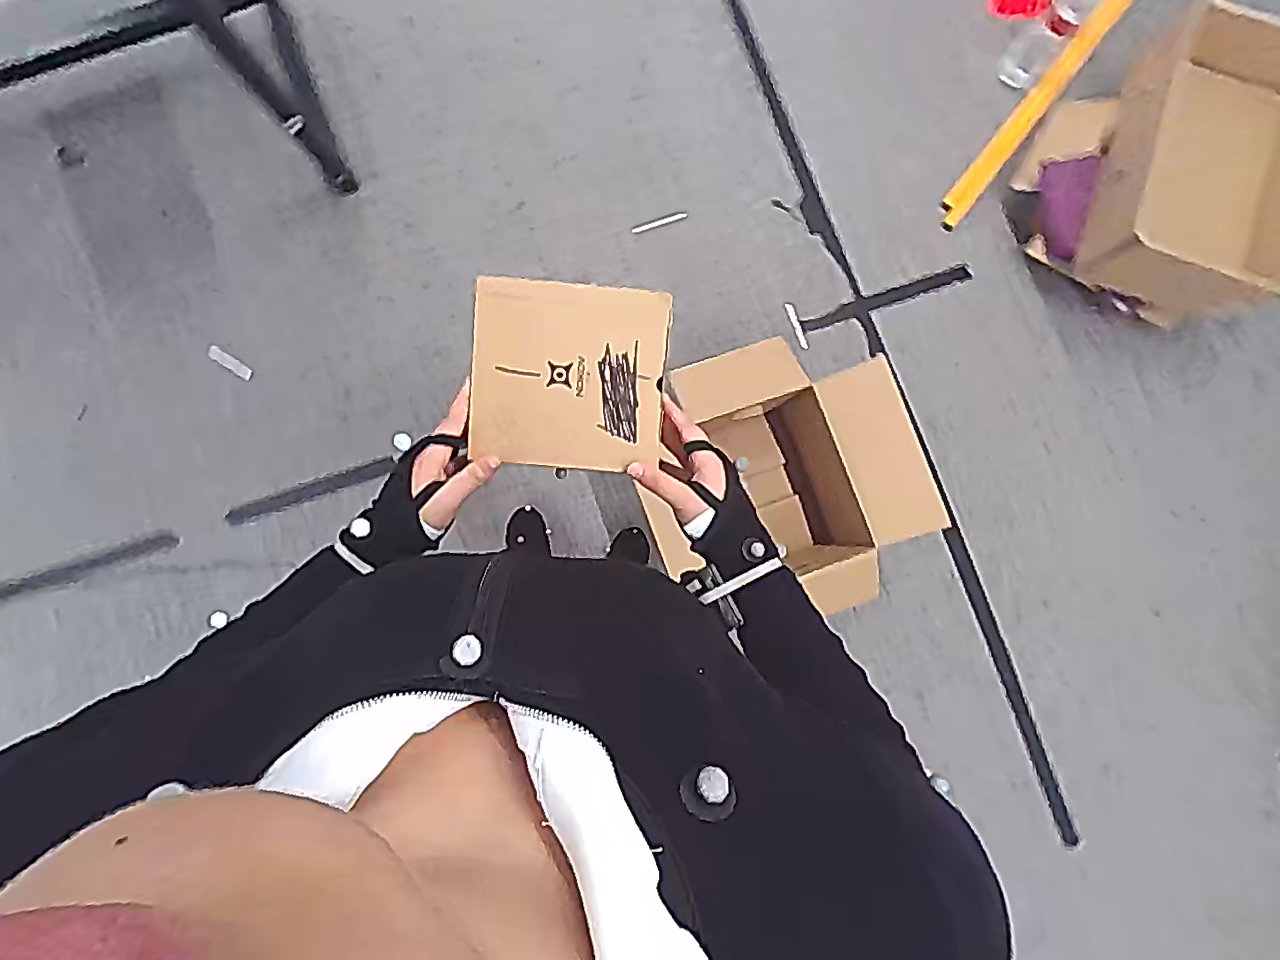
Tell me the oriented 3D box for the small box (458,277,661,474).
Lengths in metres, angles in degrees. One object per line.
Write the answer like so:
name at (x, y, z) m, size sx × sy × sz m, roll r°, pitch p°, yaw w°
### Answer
small box at (-0.077, -0.100, 0.565) m, size 0.179 × 0.176 × 0.168 m, roll 3°, pitch 95°, yaw -2°
